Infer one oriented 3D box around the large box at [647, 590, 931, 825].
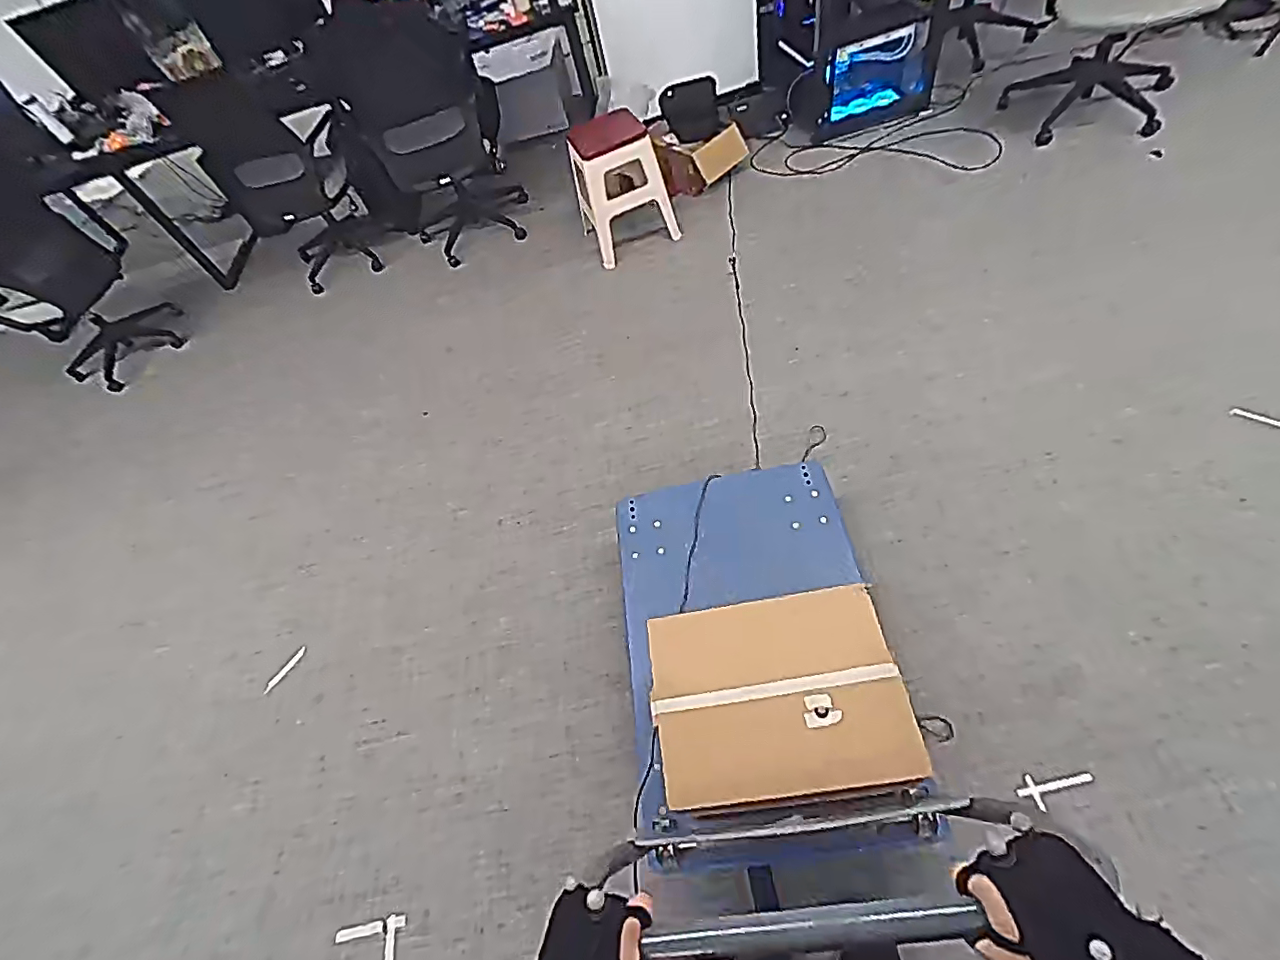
[{"bbox_3d":[0.249,0.441,1.019,0.408,0.320,0.320,-11,56,6],"label":"large box"}]
